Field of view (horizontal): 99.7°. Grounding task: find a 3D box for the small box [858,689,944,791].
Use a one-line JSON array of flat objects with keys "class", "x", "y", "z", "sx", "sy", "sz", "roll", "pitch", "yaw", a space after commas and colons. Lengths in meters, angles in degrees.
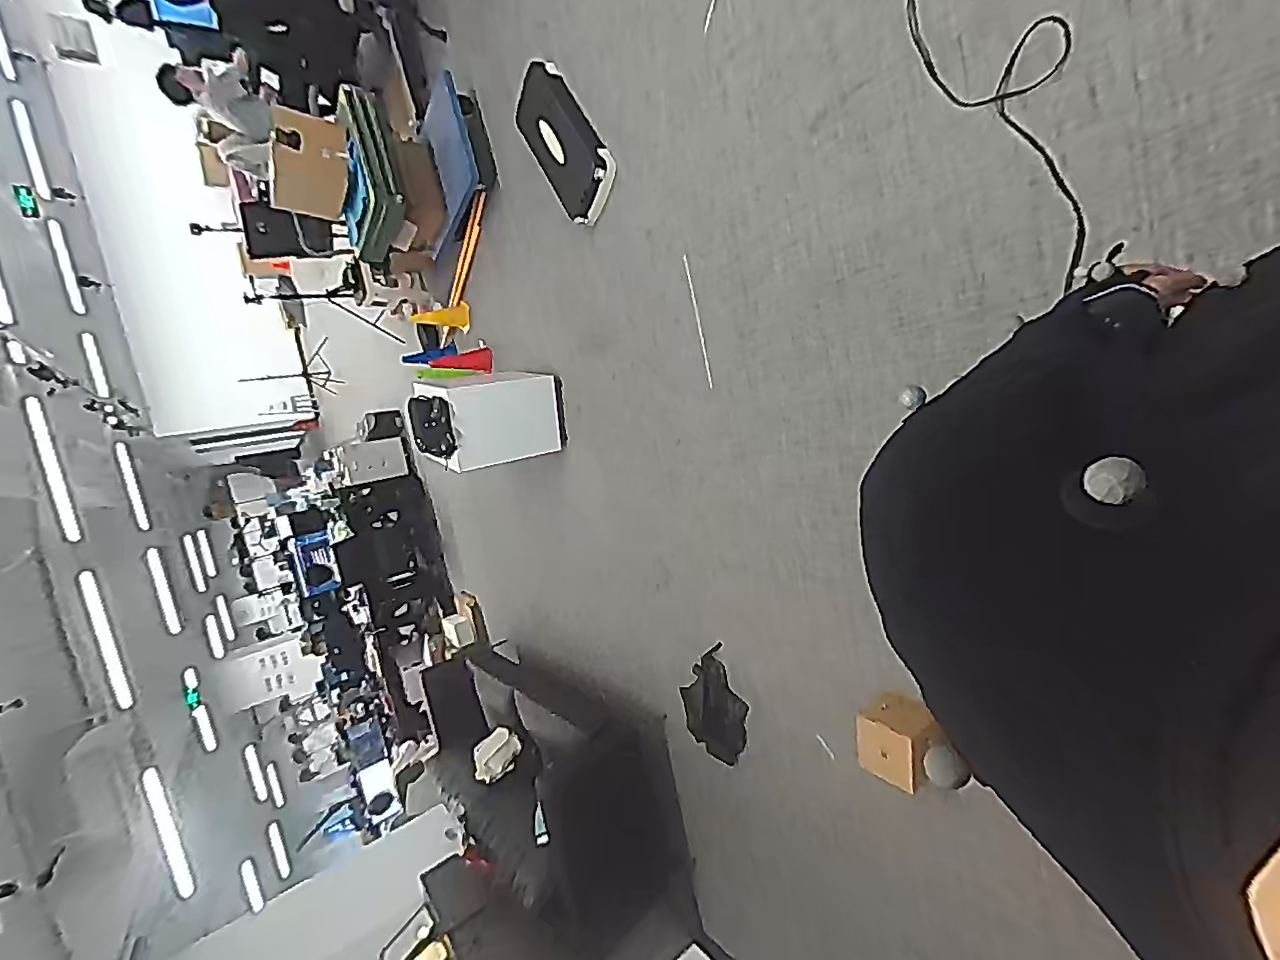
[{"class": "small box", "x": 0.754, "y": 0.736, "z": 1.557, "sx": 0.168, "sy": 0.176, "sz": 0.179, "roll": 8, "pitch": 110, "yaw": 55}]
